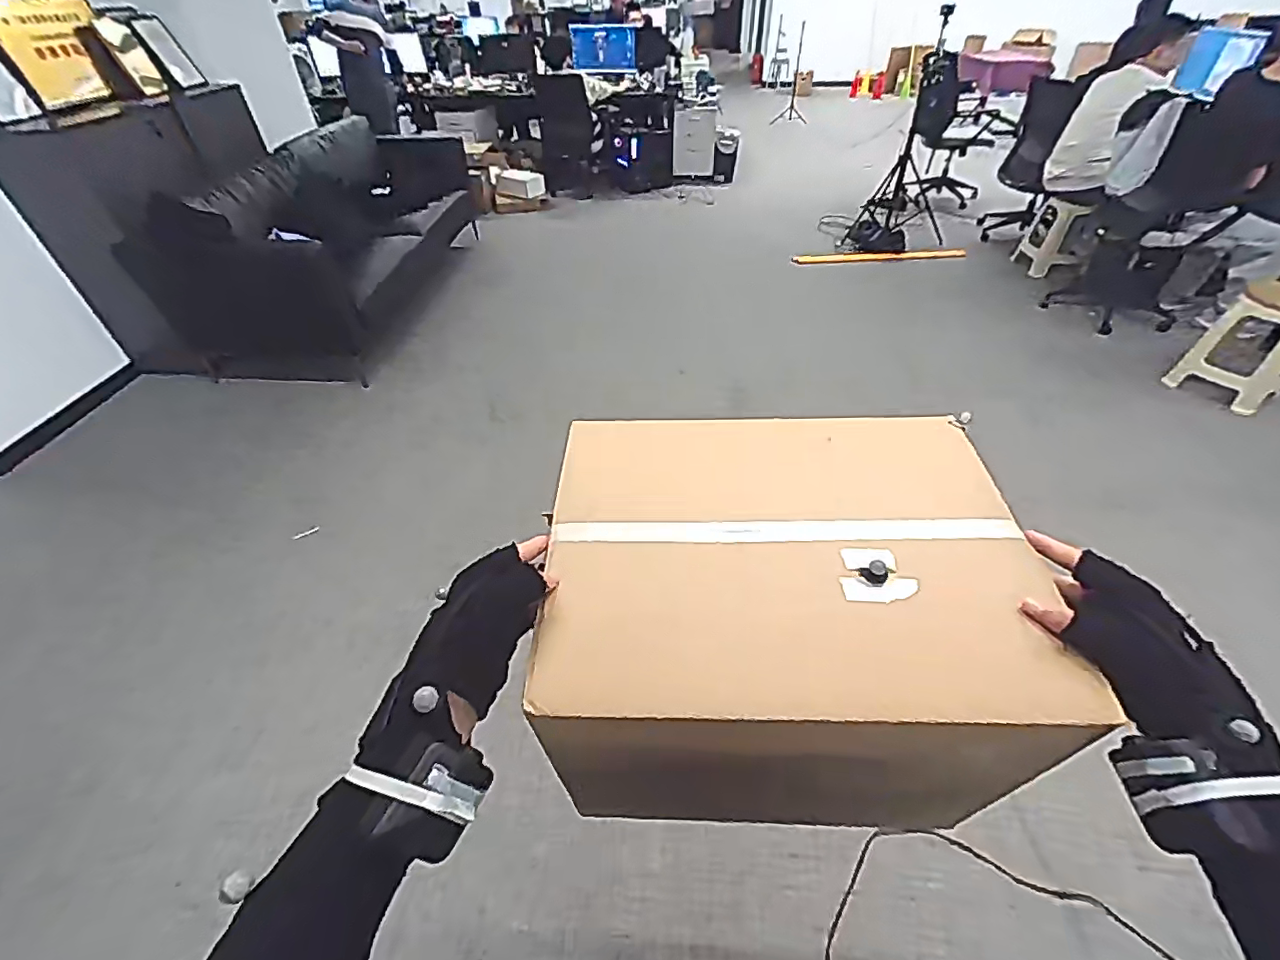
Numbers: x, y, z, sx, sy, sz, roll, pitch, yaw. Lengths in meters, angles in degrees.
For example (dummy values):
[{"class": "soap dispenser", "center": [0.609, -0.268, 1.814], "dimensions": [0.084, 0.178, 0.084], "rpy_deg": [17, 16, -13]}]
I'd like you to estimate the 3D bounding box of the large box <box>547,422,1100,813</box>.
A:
[{"class": "large box", "center": [0.133, 0.153, 0.594], "dimensions": [0.408, 0.320, 0.320], "rpy_deg": [0, 47, 2]}]
